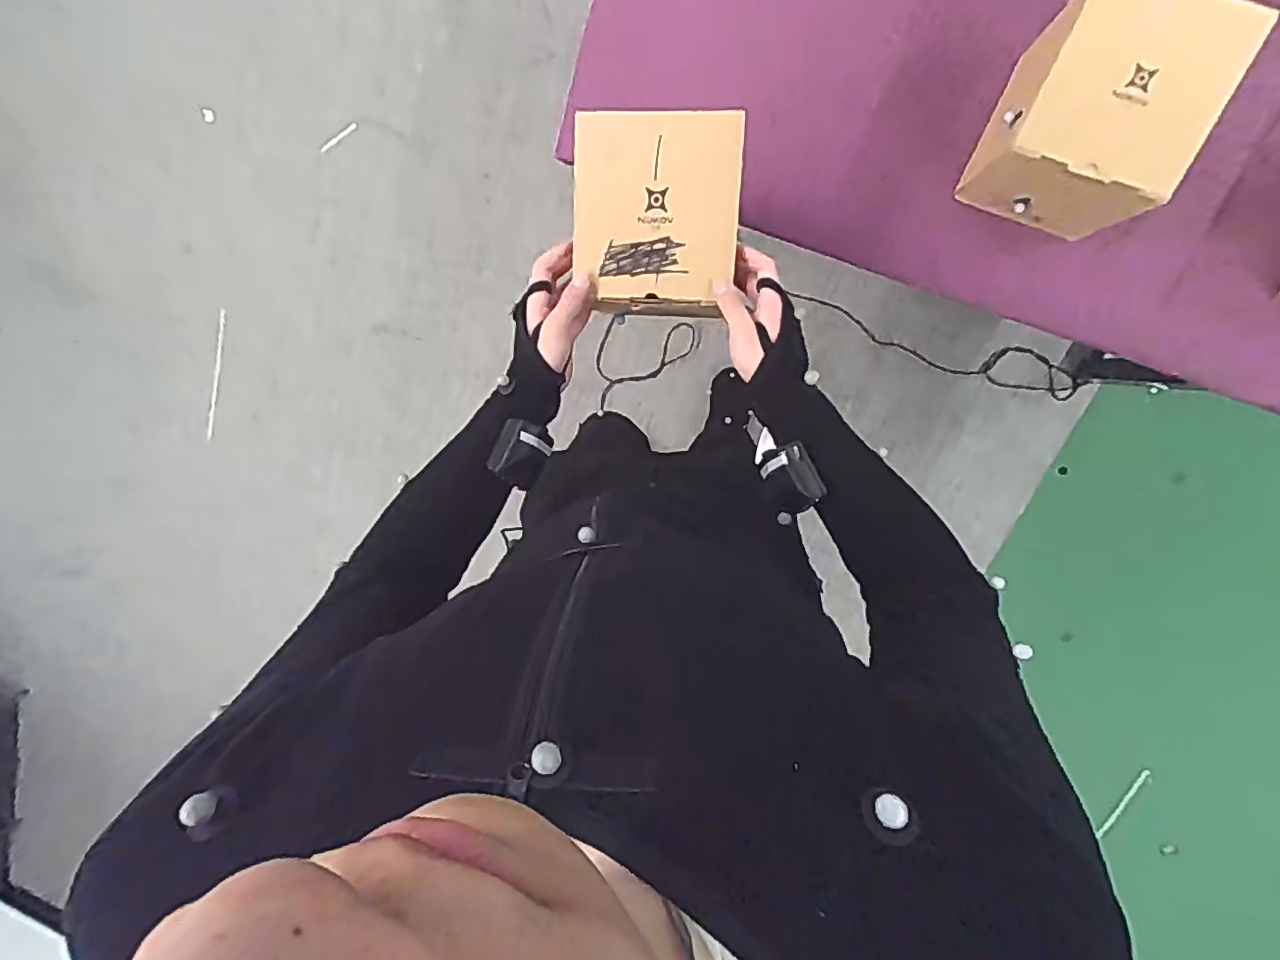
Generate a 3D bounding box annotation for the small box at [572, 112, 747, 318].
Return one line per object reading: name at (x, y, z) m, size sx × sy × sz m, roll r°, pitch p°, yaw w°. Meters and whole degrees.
small box at (0.025, -0.282, 0.612) m, size 0.168 × 0.176 × 0.179 m, roll 4°, pitch 101°, yaw 5°

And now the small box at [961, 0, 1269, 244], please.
small box at (0.508, -0.399, 0.617) m, size 0.168 × 0.176 × 0.179 m, roll 23°, pitch 105°, yaw 5°
